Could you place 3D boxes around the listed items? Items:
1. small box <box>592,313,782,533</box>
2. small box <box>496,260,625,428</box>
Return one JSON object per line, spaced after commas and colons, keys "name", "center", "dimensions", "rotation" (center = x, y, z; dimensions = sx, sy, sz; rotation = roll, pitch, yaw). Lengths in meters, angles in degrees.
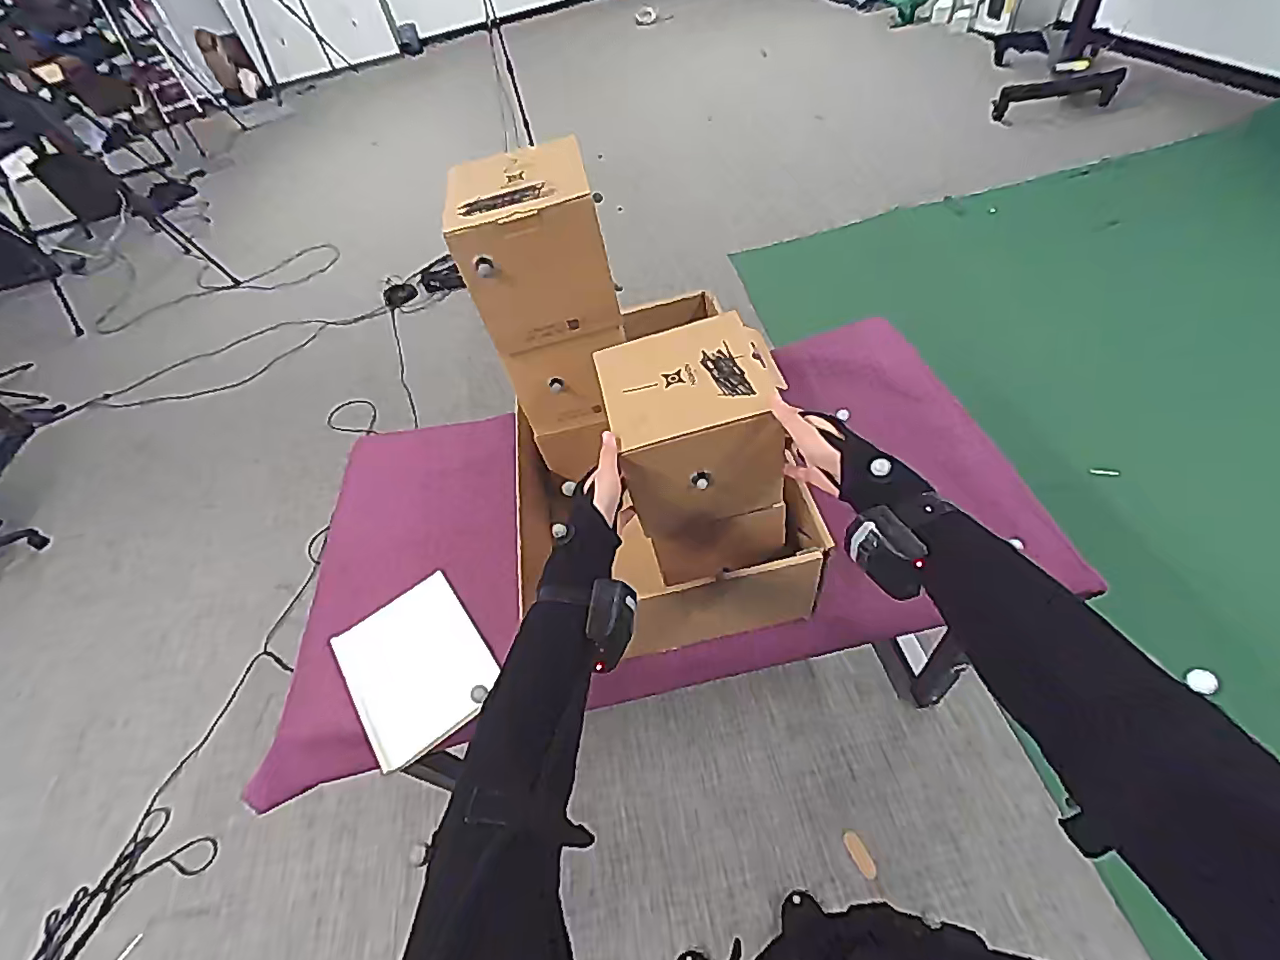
{"name": "small box", "center": [0.056, -0.061, 0.638], "dimensions": [0.179, 0.176, 0.168], "rotation": [-15, 51, 2]}
{"name": "small box", "center": [-0.106, -0.196, 0.819], "dimensions": [0.168, 0.176, 0.179], "rotation": [-12, 51, 3]}
